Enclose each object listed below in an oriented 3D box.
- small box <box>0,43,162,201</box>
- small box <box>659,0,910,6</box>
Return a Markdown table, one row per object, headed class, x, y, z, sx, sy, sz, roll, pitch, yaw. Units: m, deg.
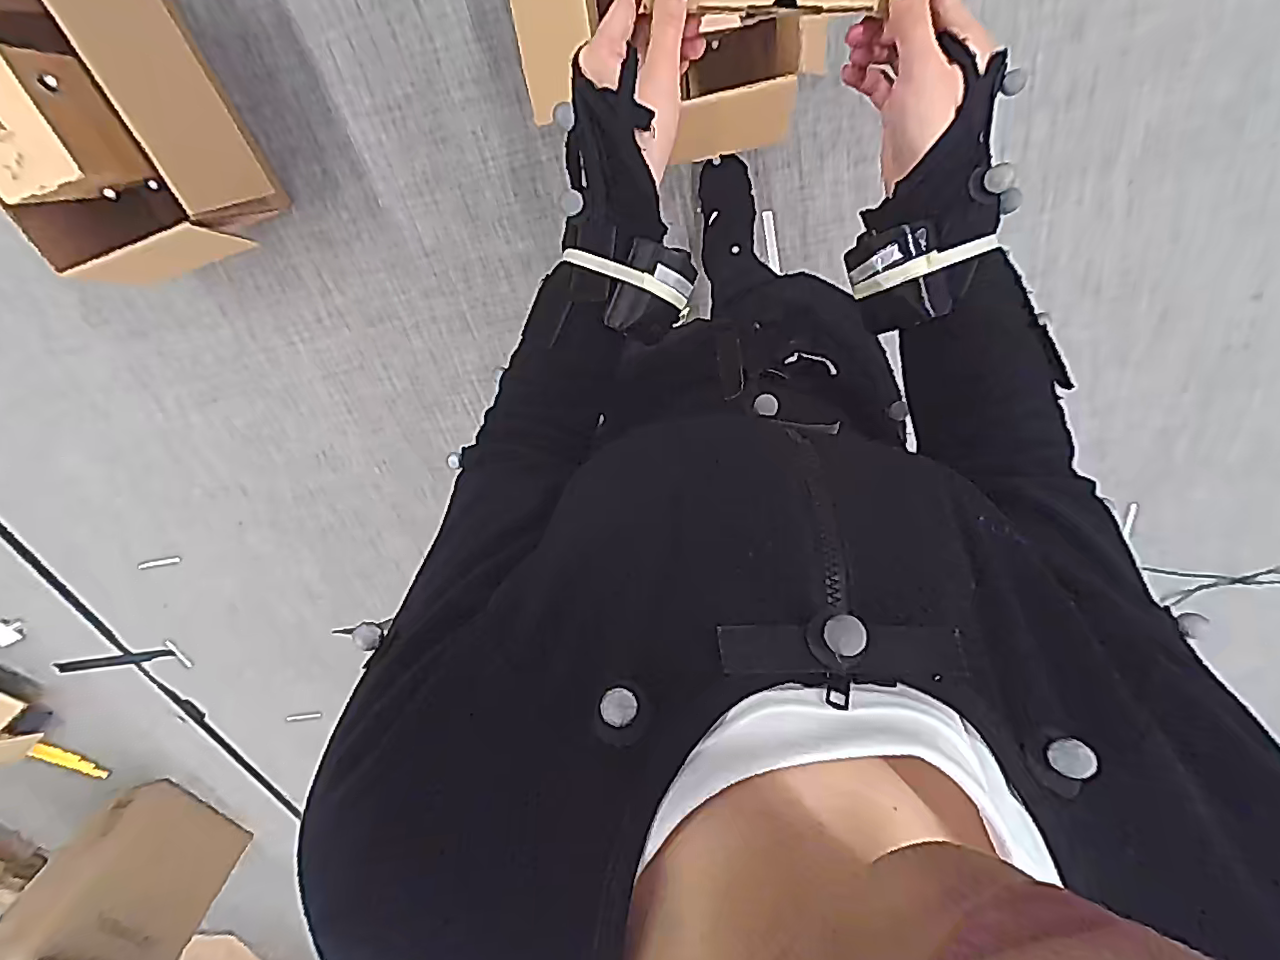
| class | x | y | z | sx | sy | sz | roll | pitch | yaw |
| --- | --- | --- | --- | --- | --- | --- | --- | --- | --- |
| small box | -0.980 | -0.587 | 0.902 | 0.168 | 0.176 | 0.179 | -11 | 121 | 10 |
| small box | 0.086 | -0.397 | 0.318 | 0.168 | 0.176 | 0.179 | 1 | 130 | 1 |
